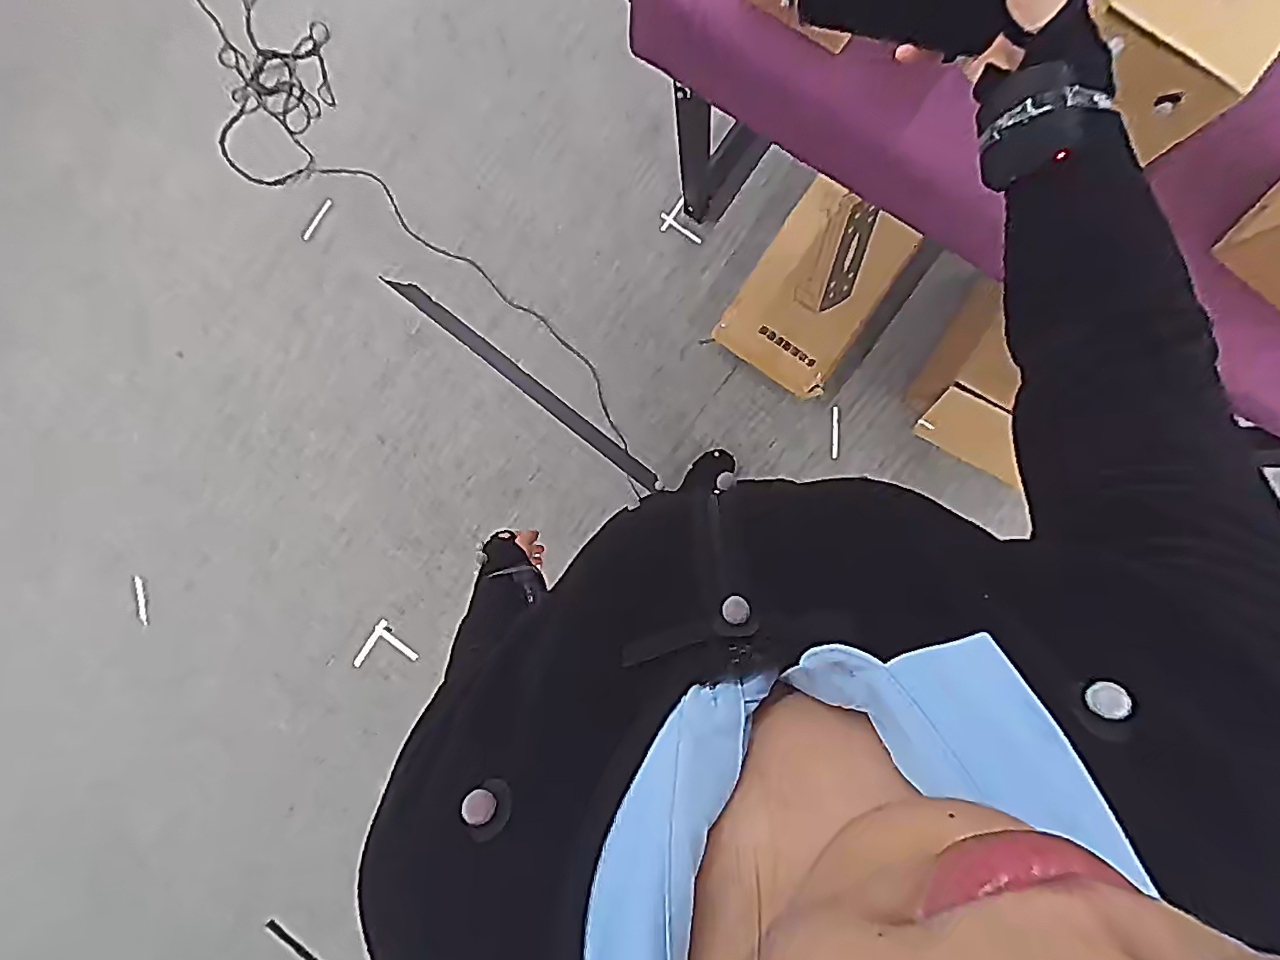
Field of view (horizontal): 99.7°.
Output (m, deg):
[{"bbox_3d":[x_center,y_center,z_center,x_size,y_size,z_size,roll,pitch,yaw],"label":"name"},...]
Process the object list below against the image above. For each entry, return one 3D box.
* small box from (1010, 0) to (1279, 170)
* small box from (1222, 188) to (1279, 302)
[{"bbox_3d":[0.582,-0.494,0.611,0.179,0.176,0.168,35,93,5],"label":"small box"},{"bbox_3d":[0.827,-0.291,0.588,0.179,0.176,0.168,42,96,4],"label":"small box"}]
